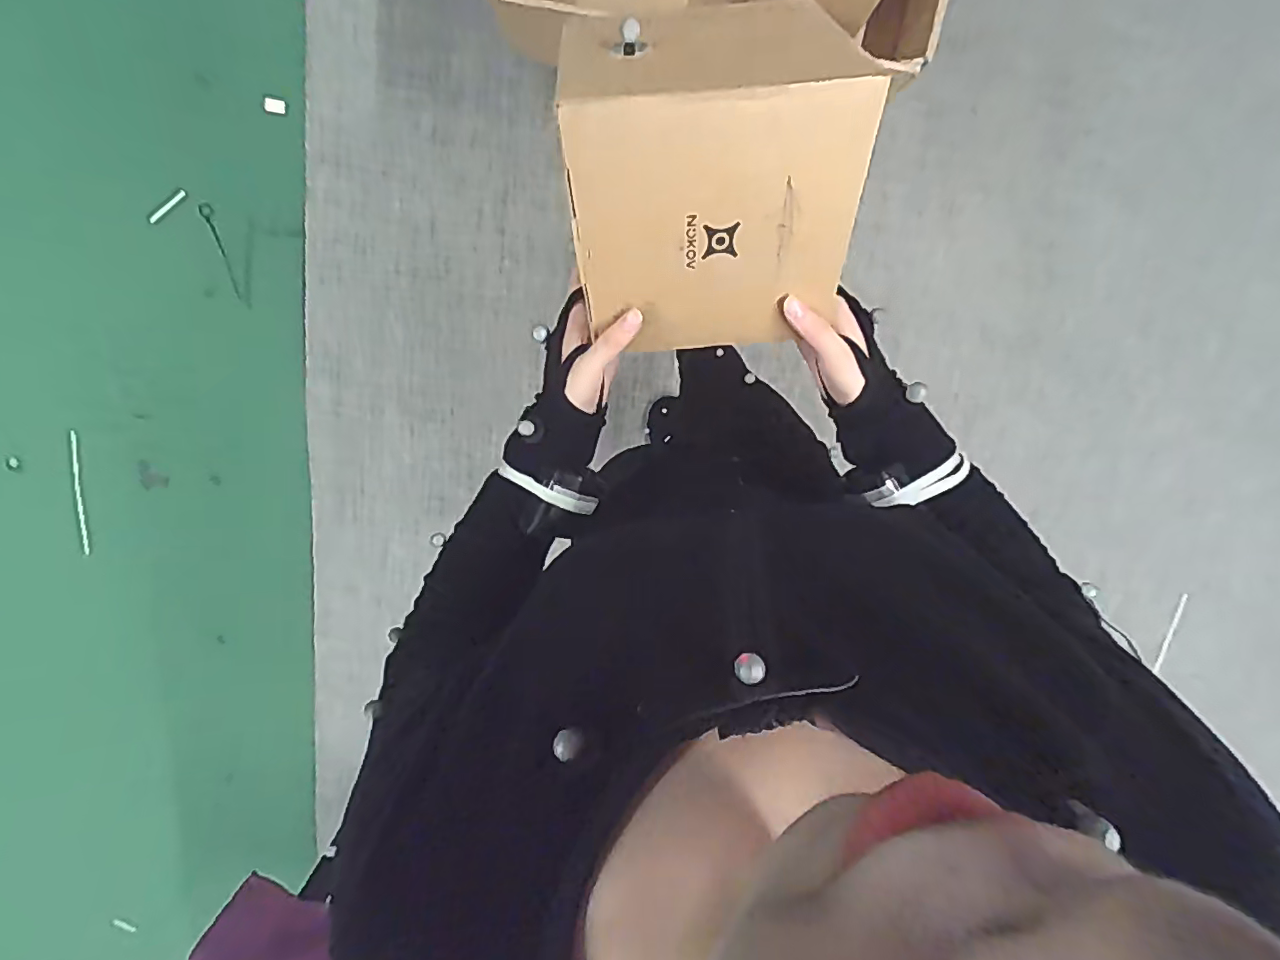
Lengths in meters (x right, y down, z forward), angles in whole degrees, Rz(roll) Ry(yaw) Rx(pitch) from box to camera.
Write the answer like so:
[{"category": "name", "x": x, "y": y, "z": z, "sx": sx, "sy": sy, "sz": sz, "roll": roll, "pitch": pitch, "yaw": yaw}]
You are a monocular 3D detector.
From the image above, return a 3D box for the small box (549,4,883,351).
[{"category": "small box", "x": 0.038, "y": -0.214, "z": 0.389, "sx": 0.179, "sy": 0.176, "sz": 0.168, "roll": -4, "pitch": 142, "yaw": 0}]
